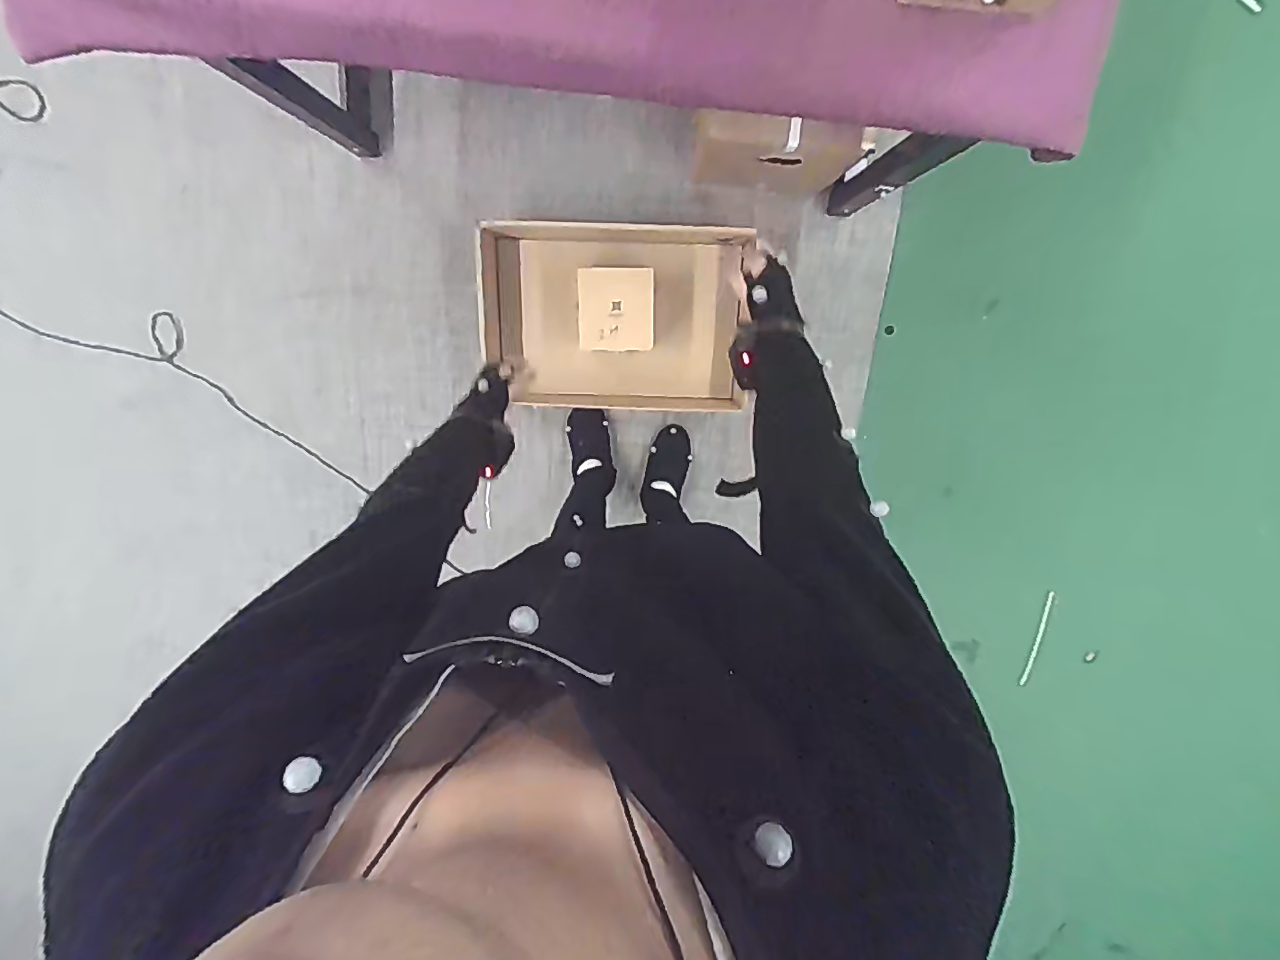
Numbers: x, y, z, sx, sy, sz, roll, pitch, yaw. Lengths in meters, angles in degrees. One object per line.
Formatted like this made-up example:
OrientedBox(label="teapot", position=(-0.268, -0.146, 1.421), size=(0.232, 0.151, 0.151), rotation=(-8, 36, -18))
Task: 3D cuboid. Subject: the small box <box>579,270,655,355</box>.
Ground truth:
OrientedBox(label="small box", position=(-0.053, -0.381, 1.246), size=(0.168, 0.176, 0.179), rotation=(1, 106, 0))
